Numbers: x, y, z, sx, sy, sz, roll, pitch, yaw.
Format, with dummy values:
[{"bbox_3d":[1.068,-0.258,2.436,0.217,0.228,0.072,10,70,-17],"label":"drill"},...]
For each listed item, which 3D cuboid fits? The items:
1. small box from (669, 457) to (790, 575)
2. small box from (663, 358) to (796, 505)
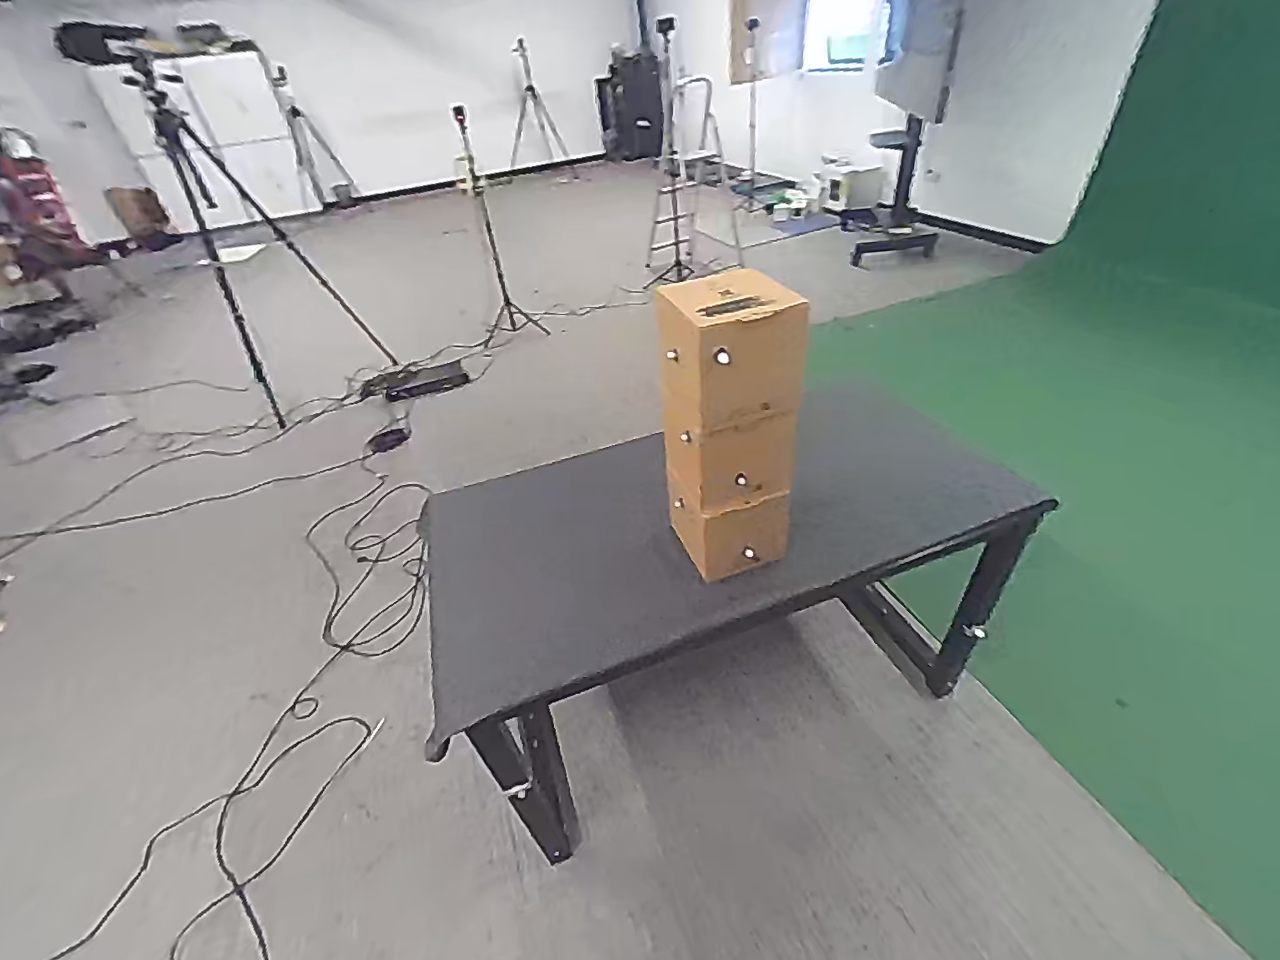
[{"bbox_3d":[0.163,0.047,1.023,0.168,0.176,0.179,-17,40,-11],"label":"small box"},{"bbox_3d":[0.146,-0.084,0.929,0.168,0.176,0.179,-16,39,-11],"label":"small box"}]
